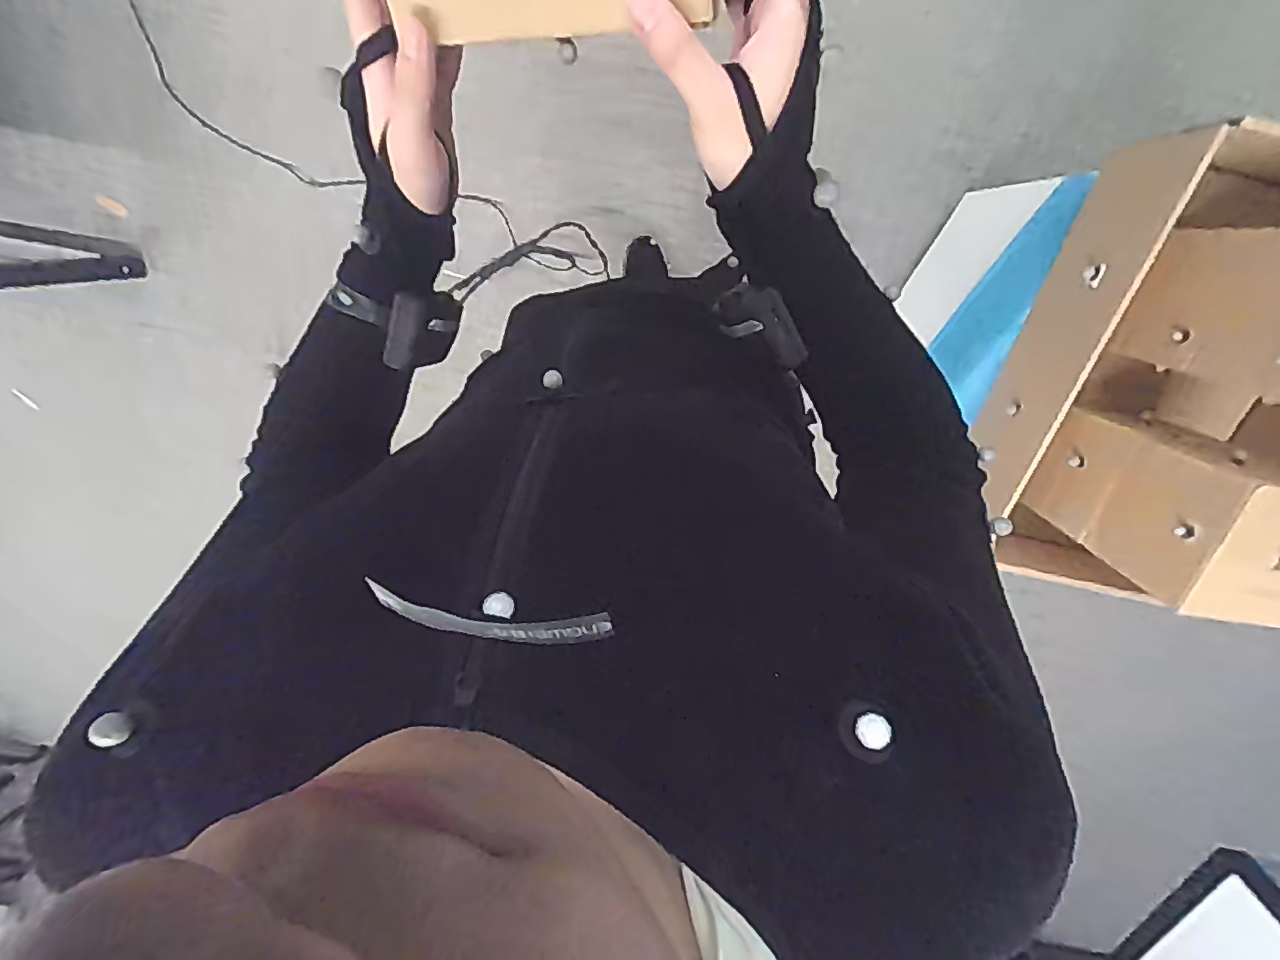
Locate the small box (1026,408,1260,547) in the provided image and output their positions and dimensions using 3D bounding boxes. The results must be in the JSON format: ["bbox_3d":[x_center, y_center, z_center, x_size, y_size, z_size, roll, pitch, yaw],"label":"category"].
[{"bbox_3d":[0.744,-0.001,0.829,0.168,0.176,0.179,9,113,0],"label":"small box"}]

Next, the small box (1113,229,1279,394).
[{"bbox_3d":[0.805,-0.228,0.725,0.168,0.176,0.179,12,117,-2],"label":"small box"}]

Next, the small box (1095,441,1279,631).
[{"bbox_3d":[0.736,0.064,0.678,0.168,0.176,0.179,9,114,0],"label":"small box"}]
